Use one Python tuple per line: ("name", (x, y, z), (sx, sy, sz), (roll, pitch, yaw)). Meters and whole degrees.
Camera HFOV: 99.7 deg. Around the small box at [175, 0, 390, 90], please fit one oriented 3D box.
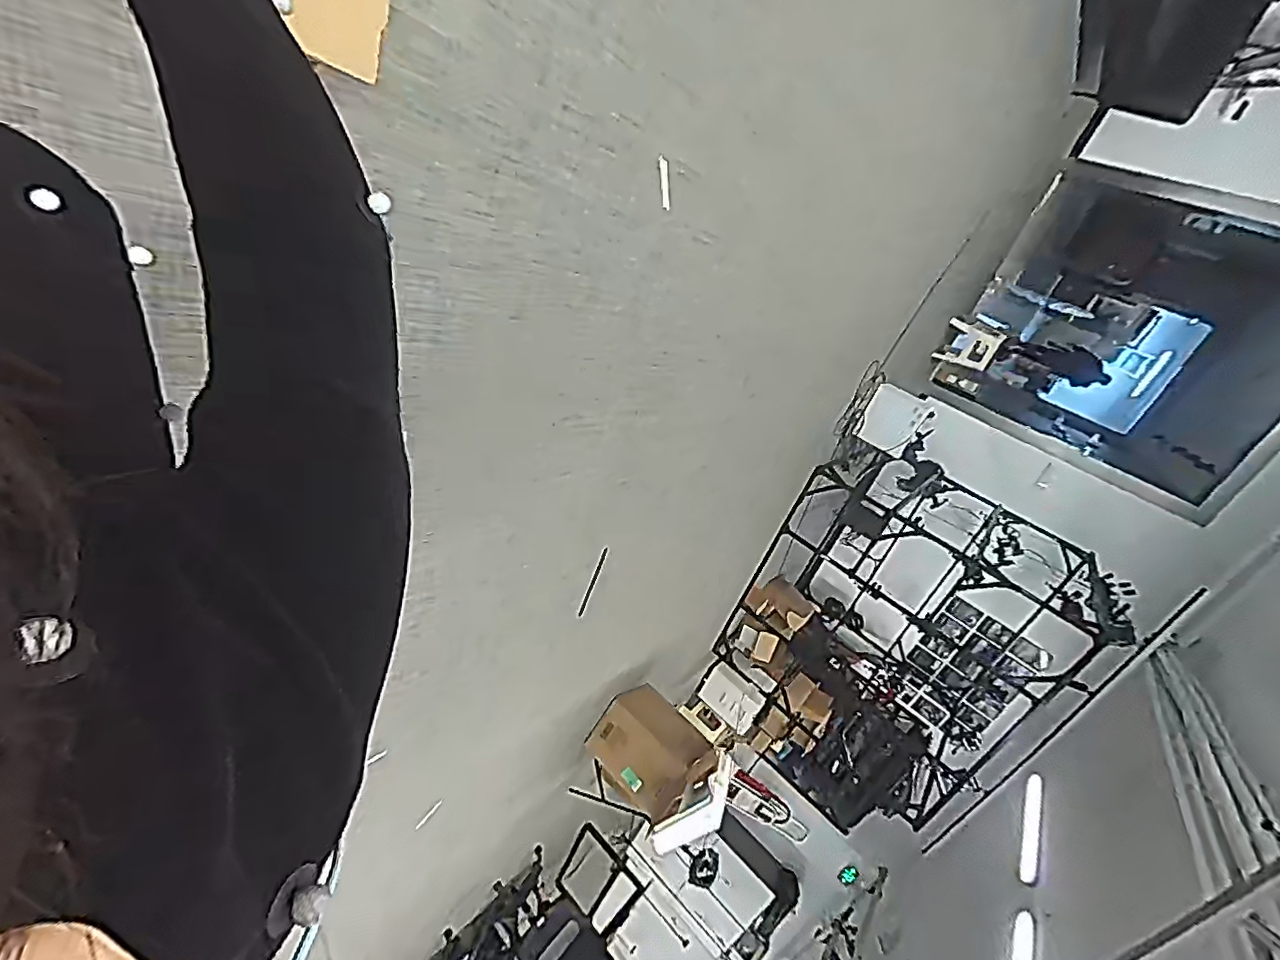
("small box", (-0.405, -0.580, 0.602), (0.179, 0.176, 0.168), (-10, 129, -54))
